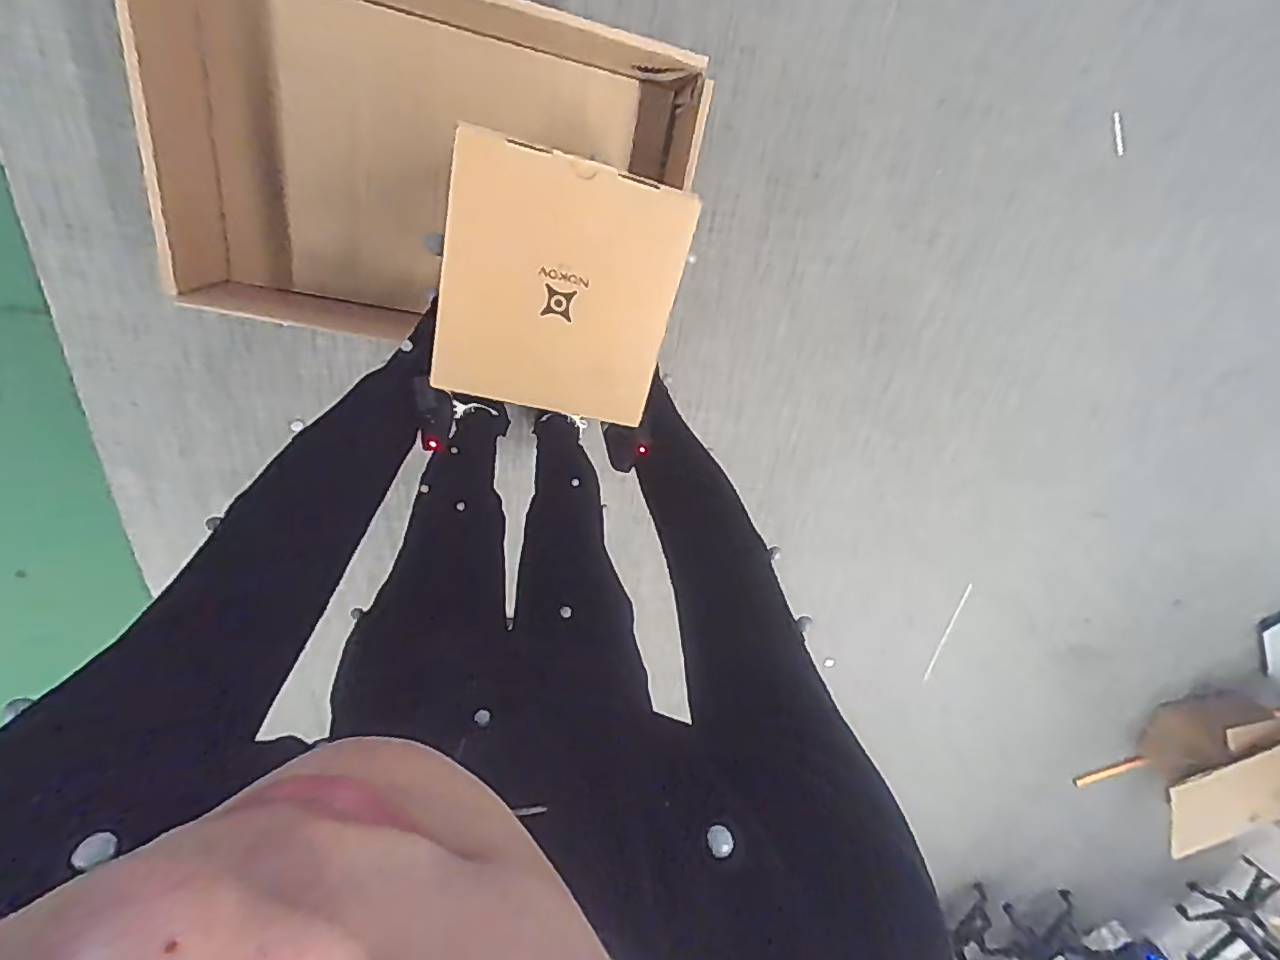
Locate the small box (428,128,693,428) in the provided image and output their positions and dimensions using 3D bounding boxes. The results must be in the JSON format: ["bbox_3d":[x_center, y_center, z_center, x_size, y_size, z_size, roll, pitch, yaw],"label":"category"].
[{"bbox_3d":[-0.070,-0.168,0.462,0.168,0.176,0.179,10,115,-13],"label":"small box"}]
